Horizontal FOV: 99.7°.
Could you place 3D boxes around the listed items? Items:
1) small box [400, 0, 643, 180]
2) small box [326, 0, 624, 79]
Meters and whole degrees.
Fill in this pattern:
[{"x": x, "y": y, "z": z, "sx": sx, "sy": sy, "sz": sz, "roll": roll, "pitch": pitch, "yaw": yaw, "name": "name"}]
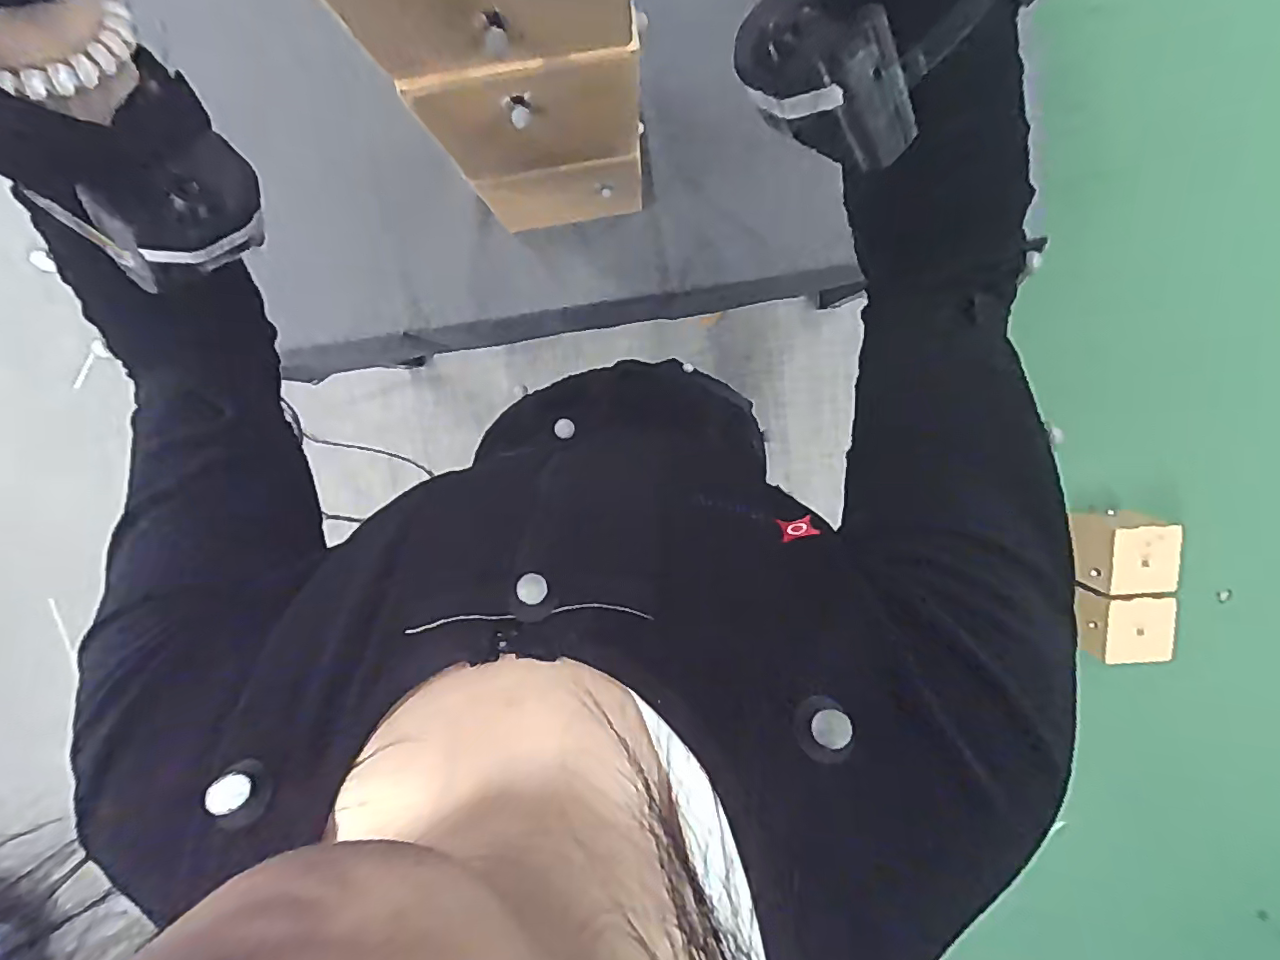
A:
[{"x": -0.095, "y": -0.377, "z": 0.450, "sx": 0.179, "sy": 0.176, "sz": 0.168, "roll": -9, "pitch": 99, "yaw": 2, "name": "small box"}, {"x": -0.100, "y": -0.355, "z": 0.287, "sx": 0.179, "sy": 0.176, "sz": 0.168, "roll": -7, "pitch": 98, "yaw": 1, "name": "small box"}]
